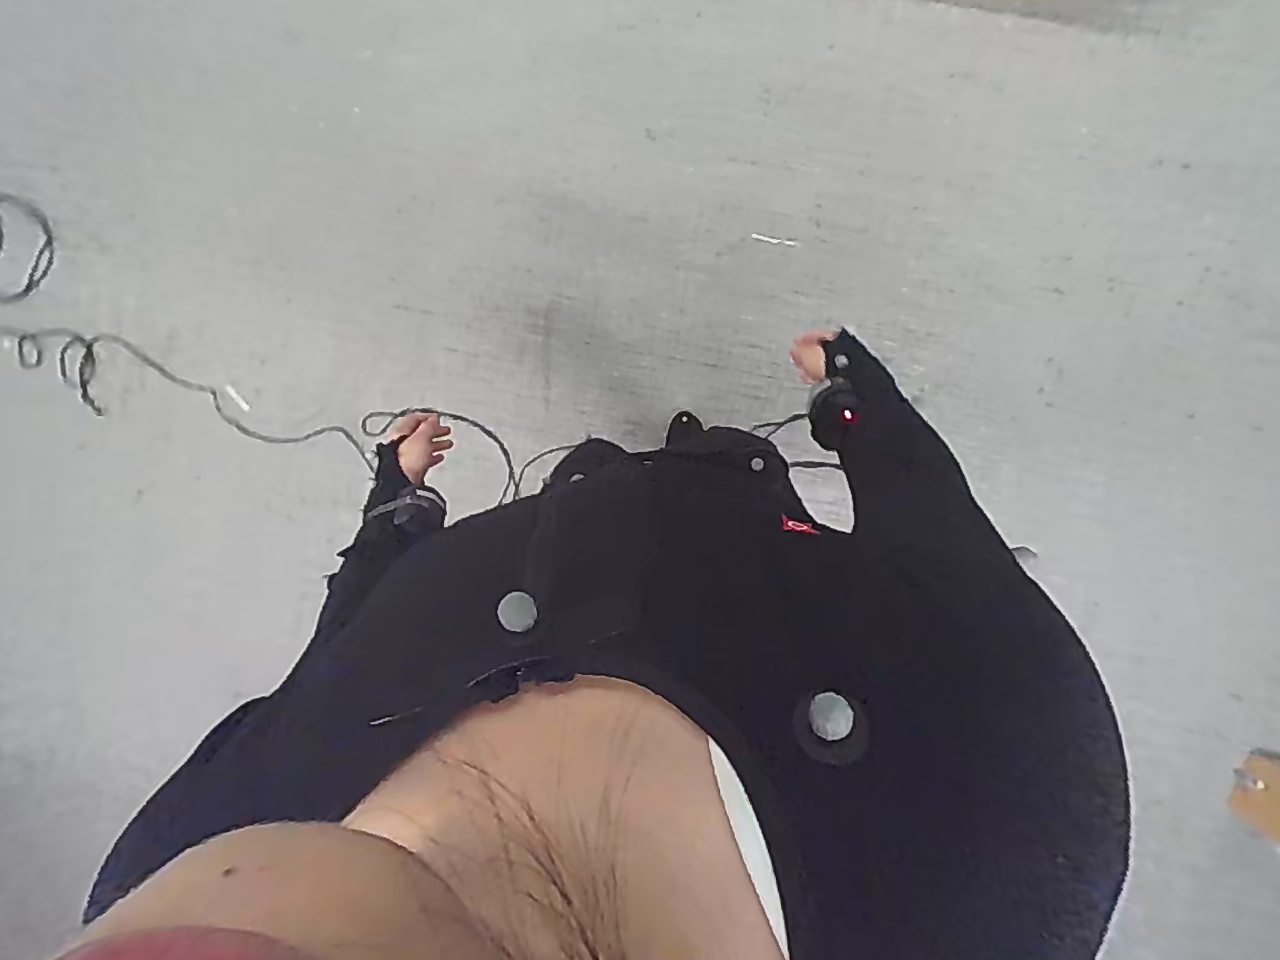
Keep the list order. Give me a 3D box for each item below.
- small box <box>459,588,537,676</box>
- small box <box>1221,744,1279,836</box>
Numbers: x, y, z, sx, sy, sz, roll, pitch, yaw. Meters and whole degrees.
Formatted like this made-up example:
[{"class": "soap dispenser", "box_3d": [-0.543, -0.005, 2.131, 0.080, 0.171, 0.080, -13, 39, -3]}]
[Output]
[{"class": "small box", "box_3d": [-0.385, 0.414, 1.489, 0.168, 0.176, 0.179, 2, 98, 5]}, {"class": "small box", "box_3d": [1.685, 0.810, 1.387, 0.179, 0.176, 0.168, 12, 98, 4]}]
